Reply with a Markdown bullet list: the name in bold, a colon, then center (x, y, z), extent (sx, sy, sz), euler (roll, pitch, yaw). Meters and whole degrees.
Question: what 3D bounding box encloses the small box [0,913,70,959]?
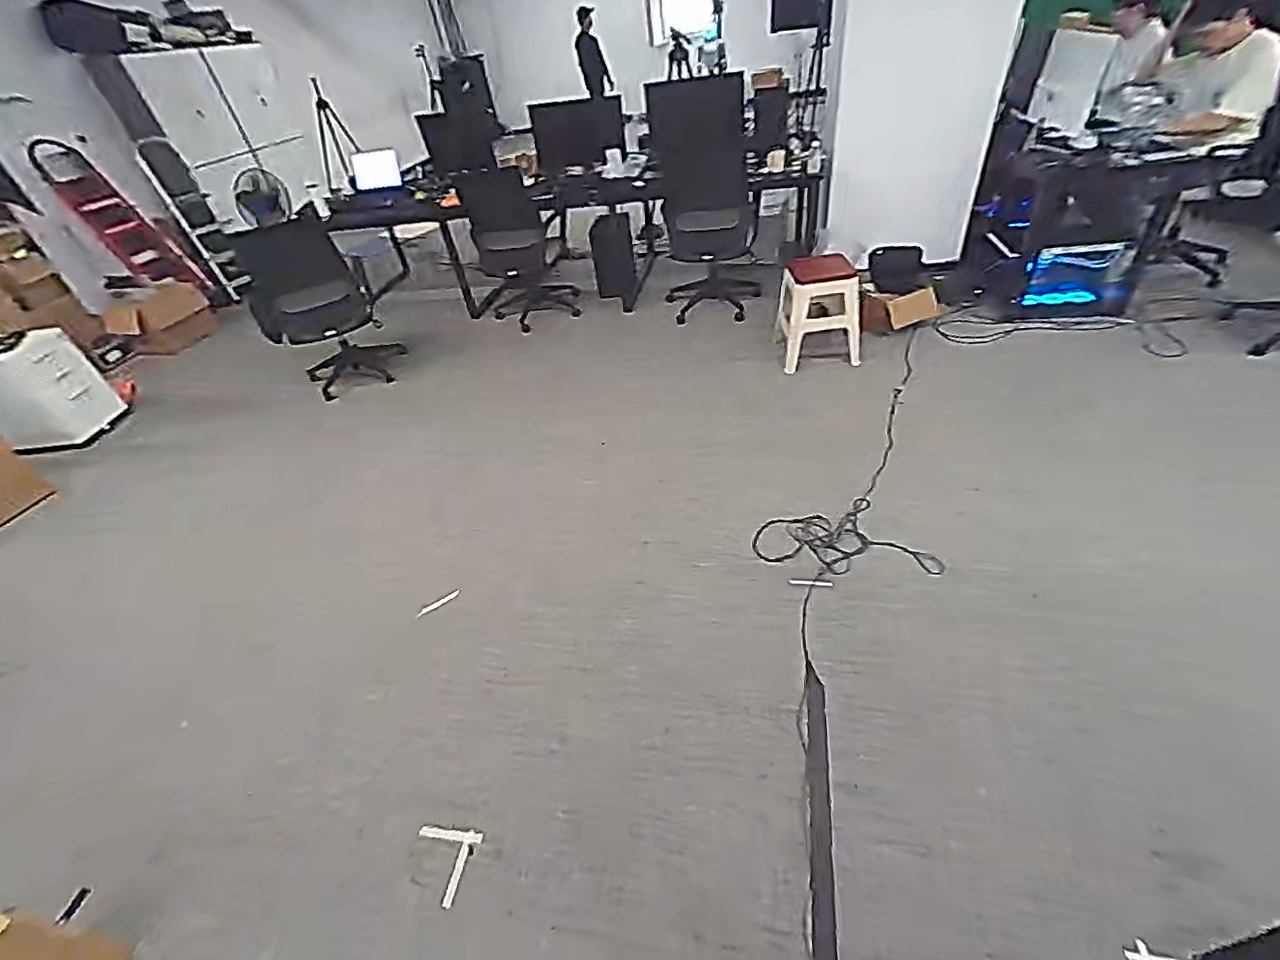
- **small box**: center (-1.343, 0.998, 1.095), extent (0.179, 0.176, 0.168), euler (3, 42, 17)
